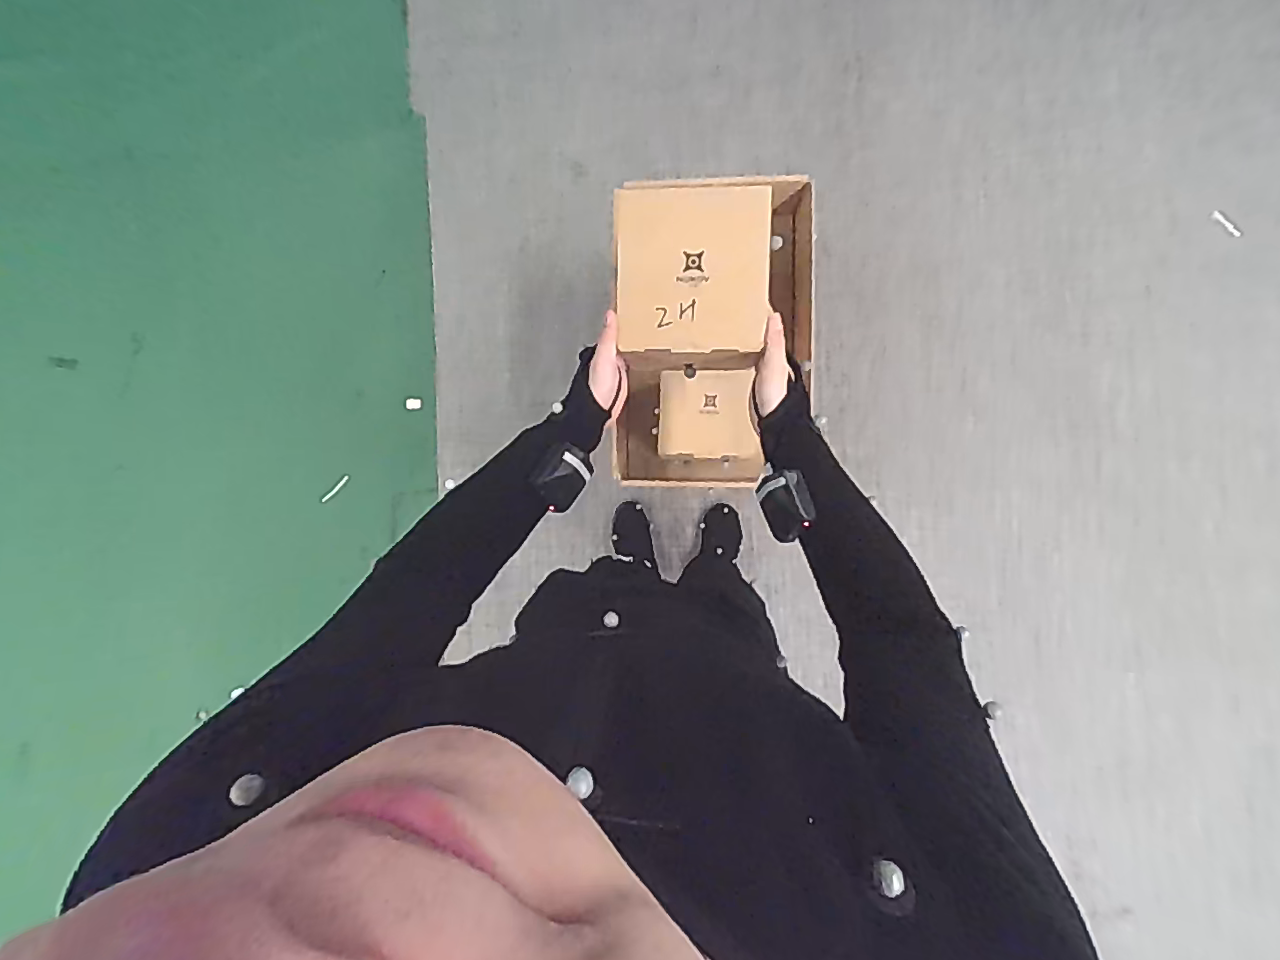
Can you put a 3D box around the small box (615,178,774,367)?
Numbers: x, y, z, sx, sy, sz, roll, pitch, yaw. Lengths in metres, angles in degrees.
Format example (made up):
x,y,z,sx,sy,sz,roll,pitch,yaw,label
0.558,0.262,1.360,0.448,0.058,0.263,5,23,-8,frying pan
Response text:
x,y,z,sx,sy,sz,roll,pitch,yaw,label
0.064,-0.239,0.659,0.168,0.176,0.179,2,95,6,small box

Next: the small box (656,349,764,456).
x,y,z,sx,sy,sz,roll,pitch,yaw,label
0.120,-0.135,0.959,0.168,0.176,0.179,4,90,4,small box
